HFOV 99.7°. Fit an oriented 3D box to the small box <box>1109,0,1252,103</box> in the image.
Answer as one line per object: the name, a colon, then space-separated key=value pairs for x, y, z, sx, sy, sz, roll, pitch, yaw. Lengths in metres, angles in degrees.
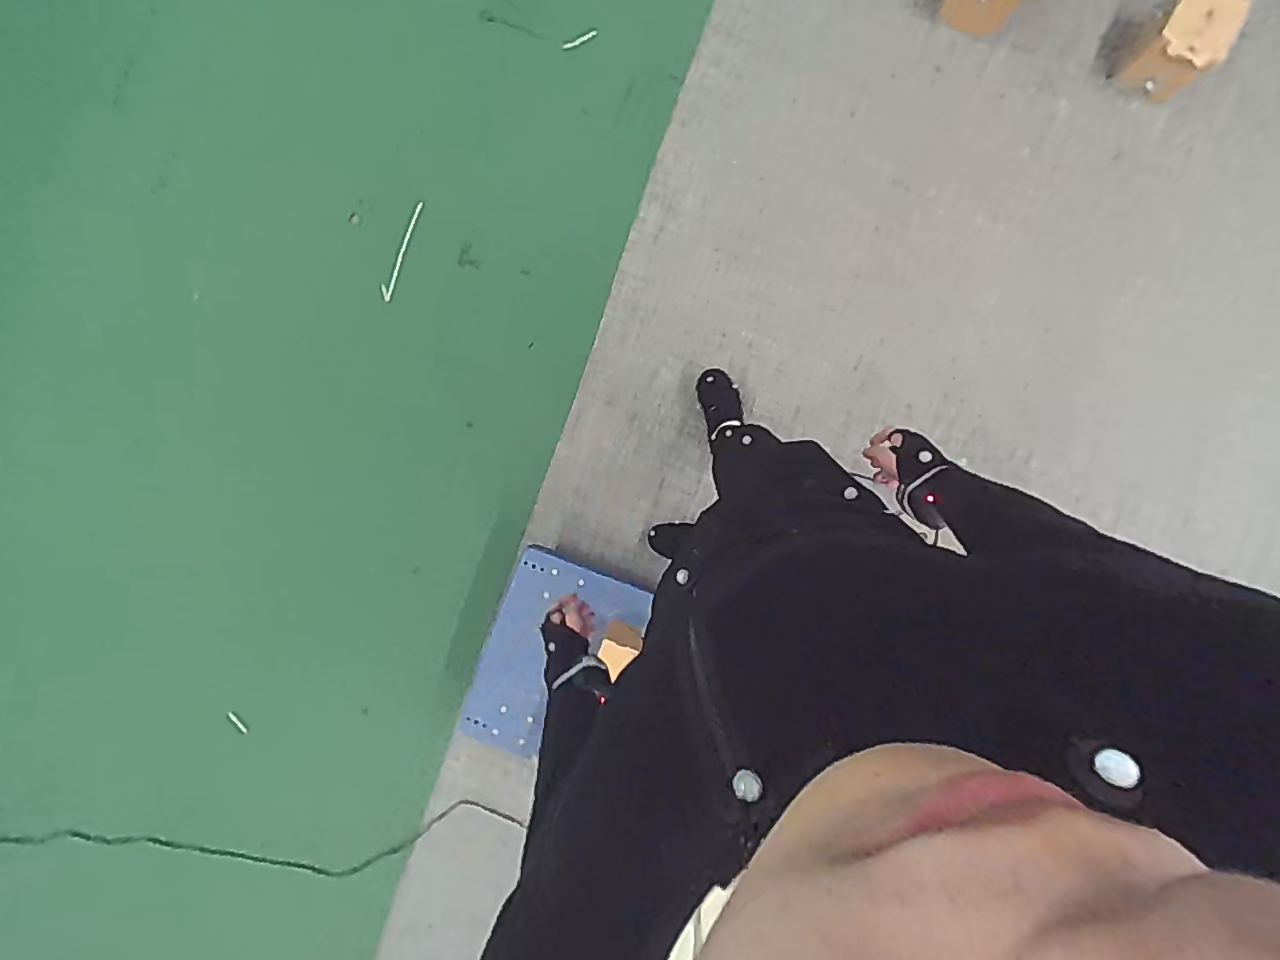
small box: x=1.411 y=-1.160 z=1.428 sx=0.168 sy=0.176 sz=0.179 roll=32 pitch=95 yaw=4

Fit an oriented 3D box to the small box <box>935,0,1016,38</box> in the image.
small box: x=0.938 y=-1.351 z=1.454 sx=0.179 sy=0.176 sz=0.168 roll=26 pitch=94 yaw=2
